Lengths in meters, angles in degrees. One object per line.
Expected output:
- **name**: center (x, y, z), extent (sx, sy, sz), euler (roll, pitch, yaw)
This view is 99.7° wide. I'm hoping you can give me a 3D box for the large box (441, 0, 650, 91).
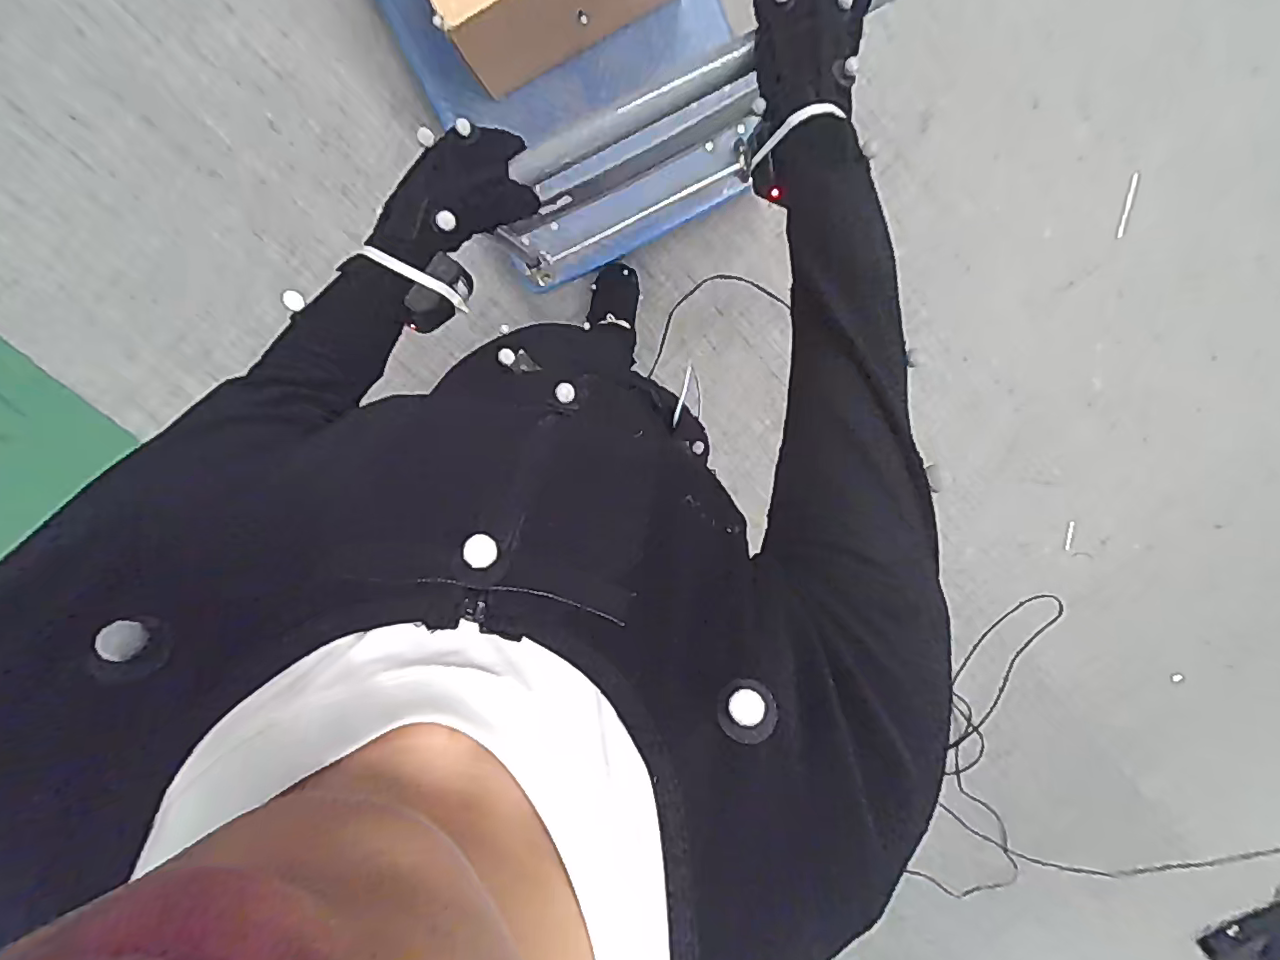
- **large box**: center (-0.158, -0.914, 0.842), extent (0.408, 0.320, 0.320), euler (-26, 108, 8)
